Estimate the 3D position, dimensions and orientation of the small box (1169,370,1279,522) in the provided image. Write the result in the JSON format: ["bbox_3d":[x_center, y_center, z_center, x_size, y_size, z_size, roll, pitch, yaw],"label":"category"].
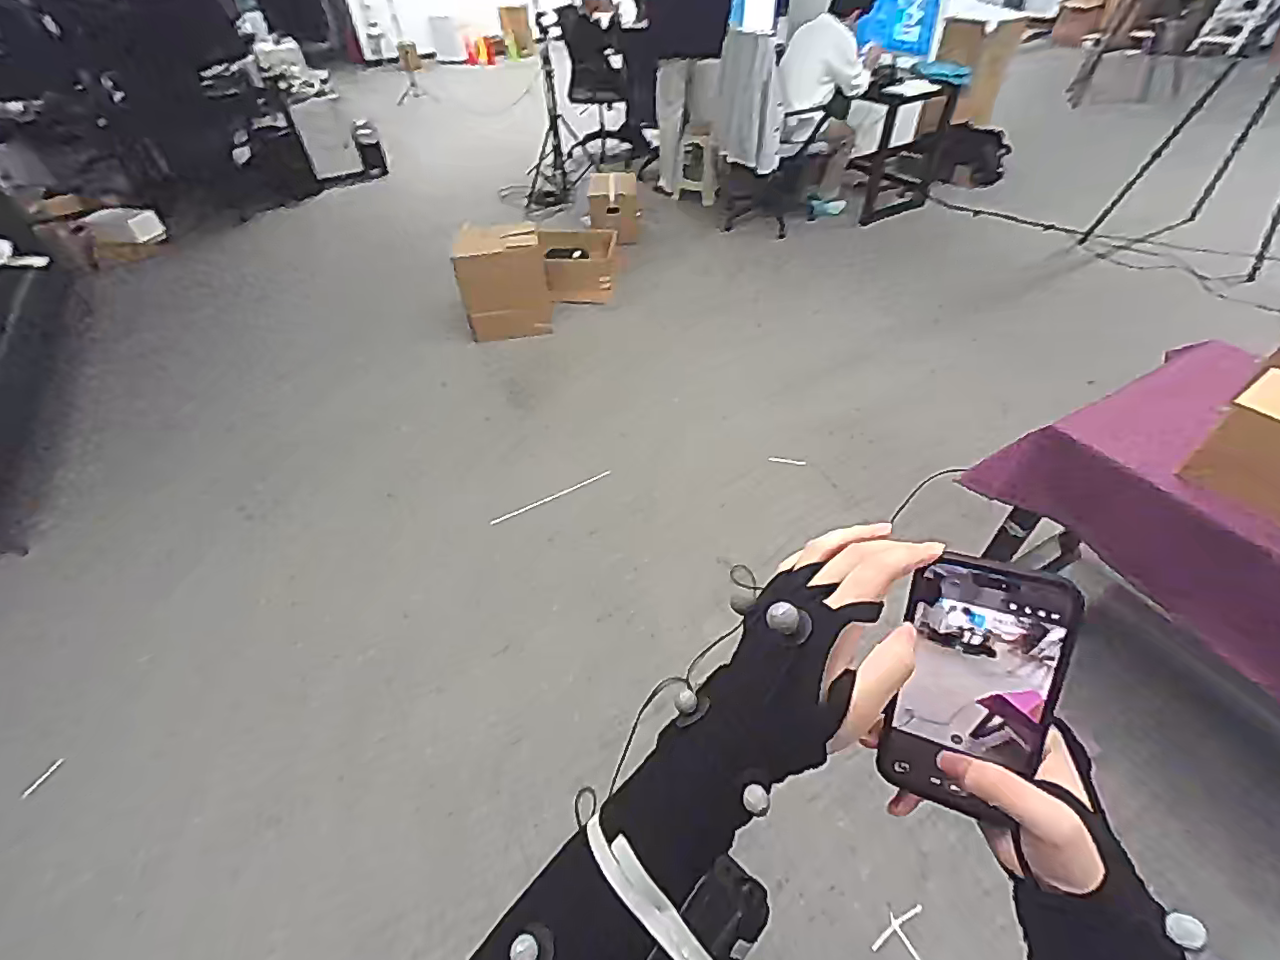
[{"bbox_3d":[1.097,-0.058,0.940,0.168,0.176,0.179,-27,51,-22],"label":"small box"}]
